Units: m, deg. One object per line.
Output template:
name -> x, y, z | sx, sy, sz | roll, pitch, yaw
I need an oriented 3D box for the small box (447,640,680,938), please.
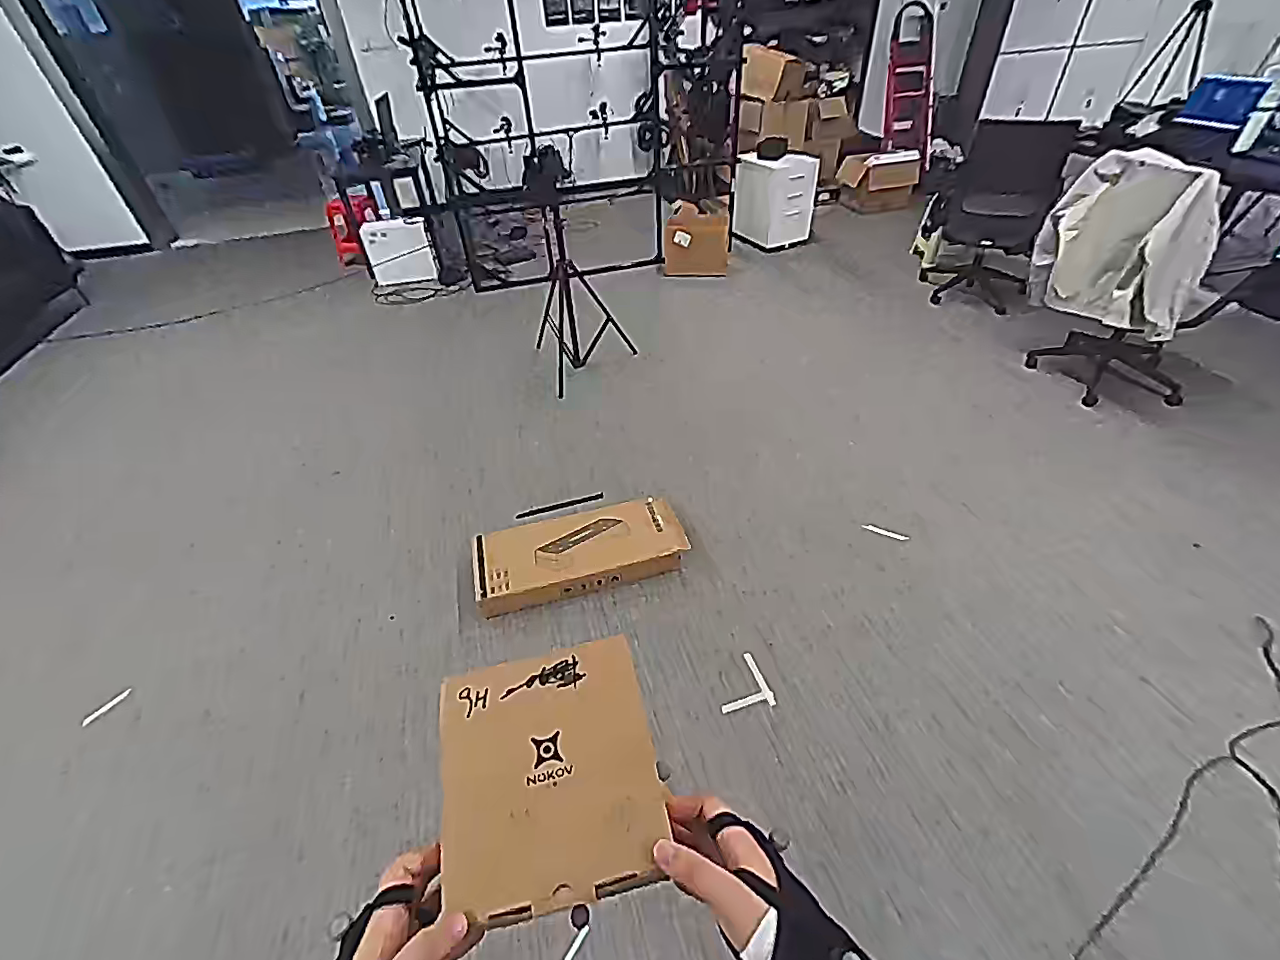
small box -> -0.064, 0.271, 0.484 | 0.168, 0.176, 0.179 | -12, 53, -7
